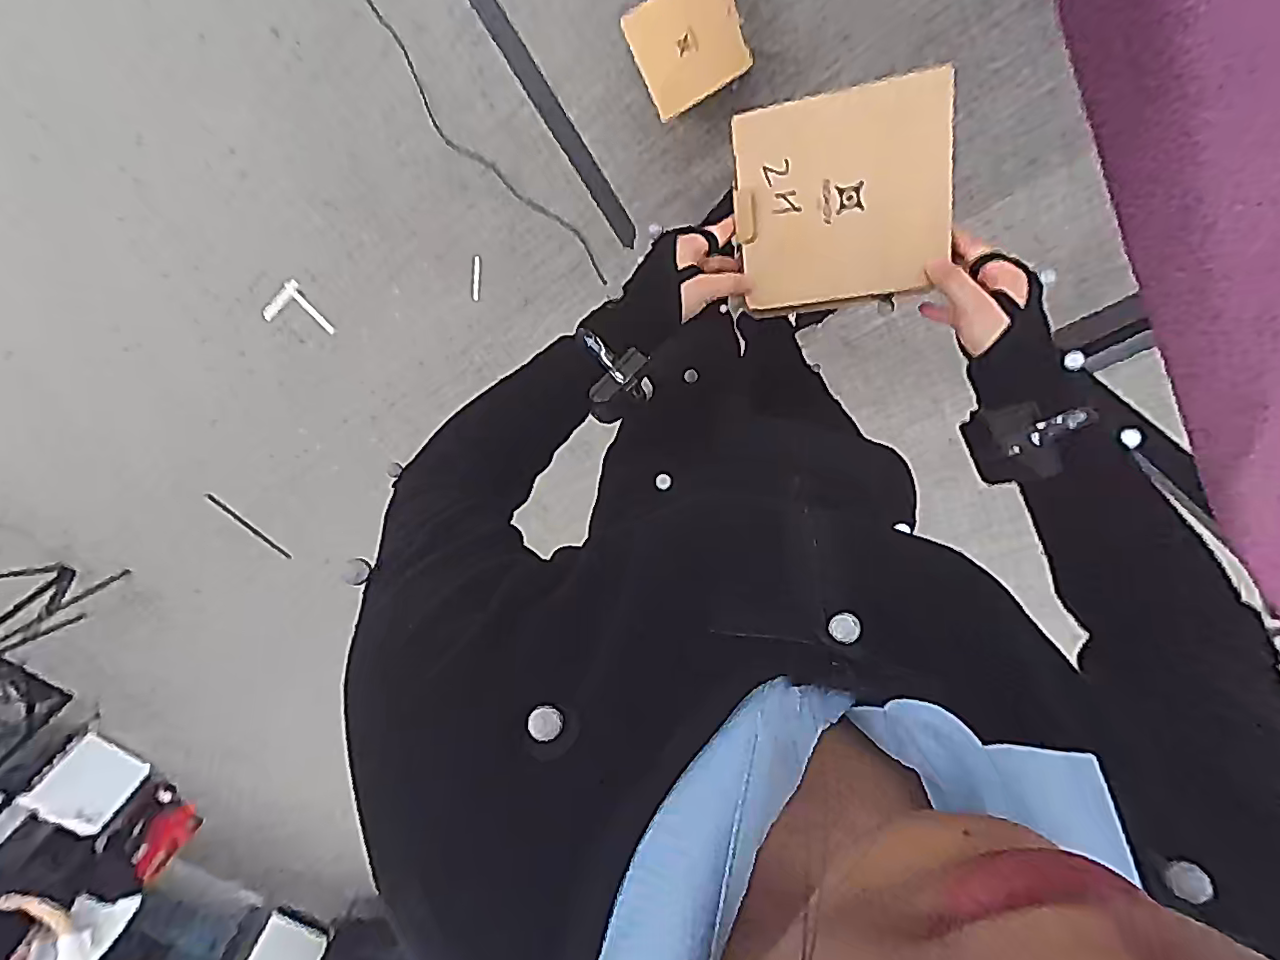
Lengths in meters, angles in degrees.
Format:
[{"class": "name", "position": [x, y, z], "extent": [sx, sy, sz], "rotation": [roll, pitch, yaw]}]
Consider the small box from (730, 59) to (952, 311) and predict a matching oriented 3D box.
[{"class": "small box", "position": [0.192, -0.268, 0.539], "extent": [0.179, 0.176, 0.168], "rotation": [-4, 102, 18]}]

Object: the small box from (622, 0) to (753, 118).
[{"class": "small box", "position": [0.092, -0.784, 0.969], "extent": [0.179, 0.176, 0.168], "rotation": [-20, 120, 23]}]
